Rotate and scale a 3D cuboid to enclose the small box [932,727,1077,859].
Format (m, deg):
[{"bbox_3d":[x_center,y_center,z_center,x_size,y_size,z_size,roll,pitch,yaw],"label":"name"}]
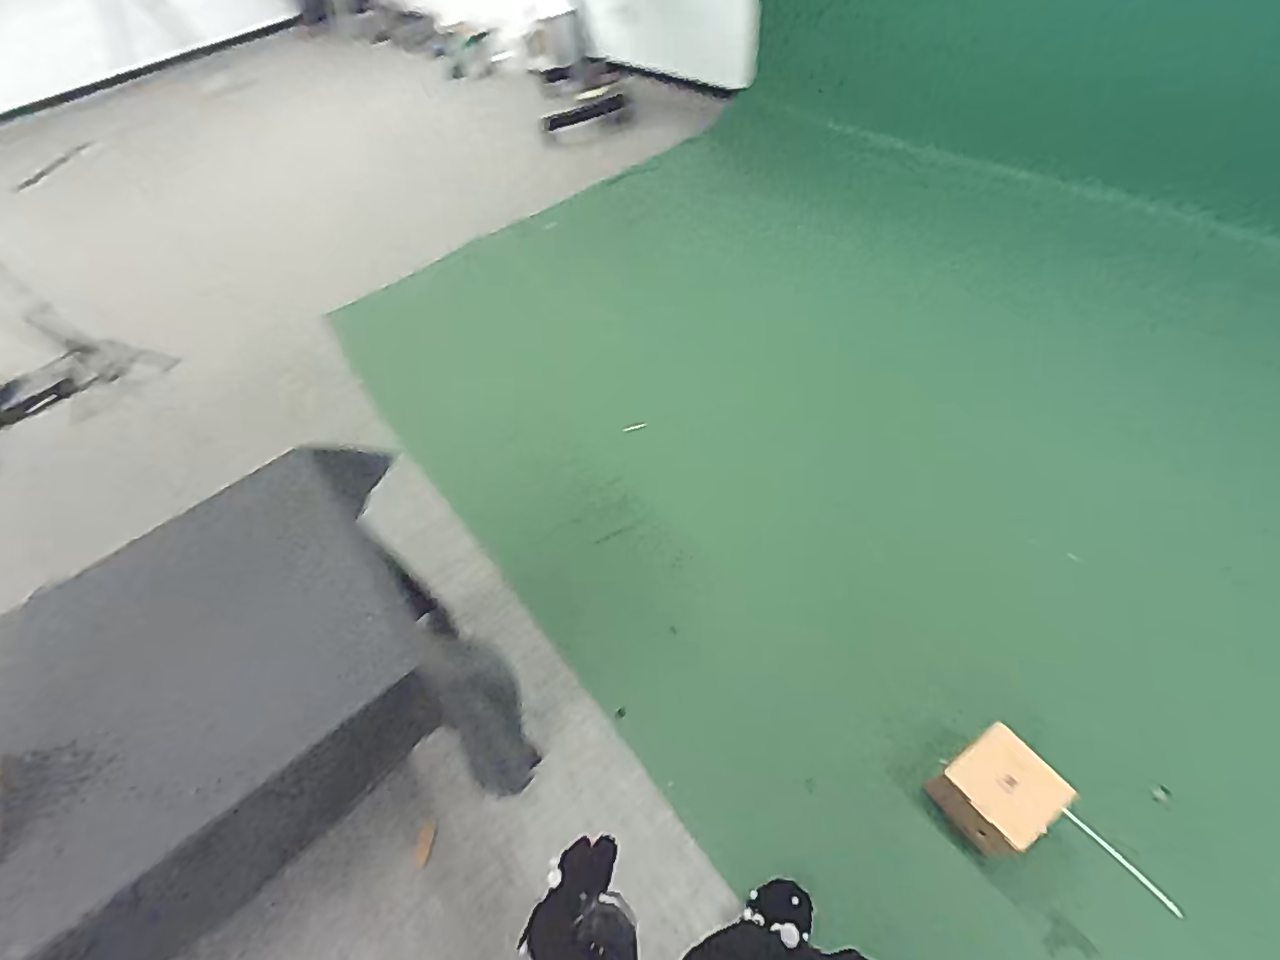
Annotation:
[{"bbox_3d":[0.746,0.661,1.135,0.179,0.176,0.168,-31,54,-14],"label":"small box"}]
